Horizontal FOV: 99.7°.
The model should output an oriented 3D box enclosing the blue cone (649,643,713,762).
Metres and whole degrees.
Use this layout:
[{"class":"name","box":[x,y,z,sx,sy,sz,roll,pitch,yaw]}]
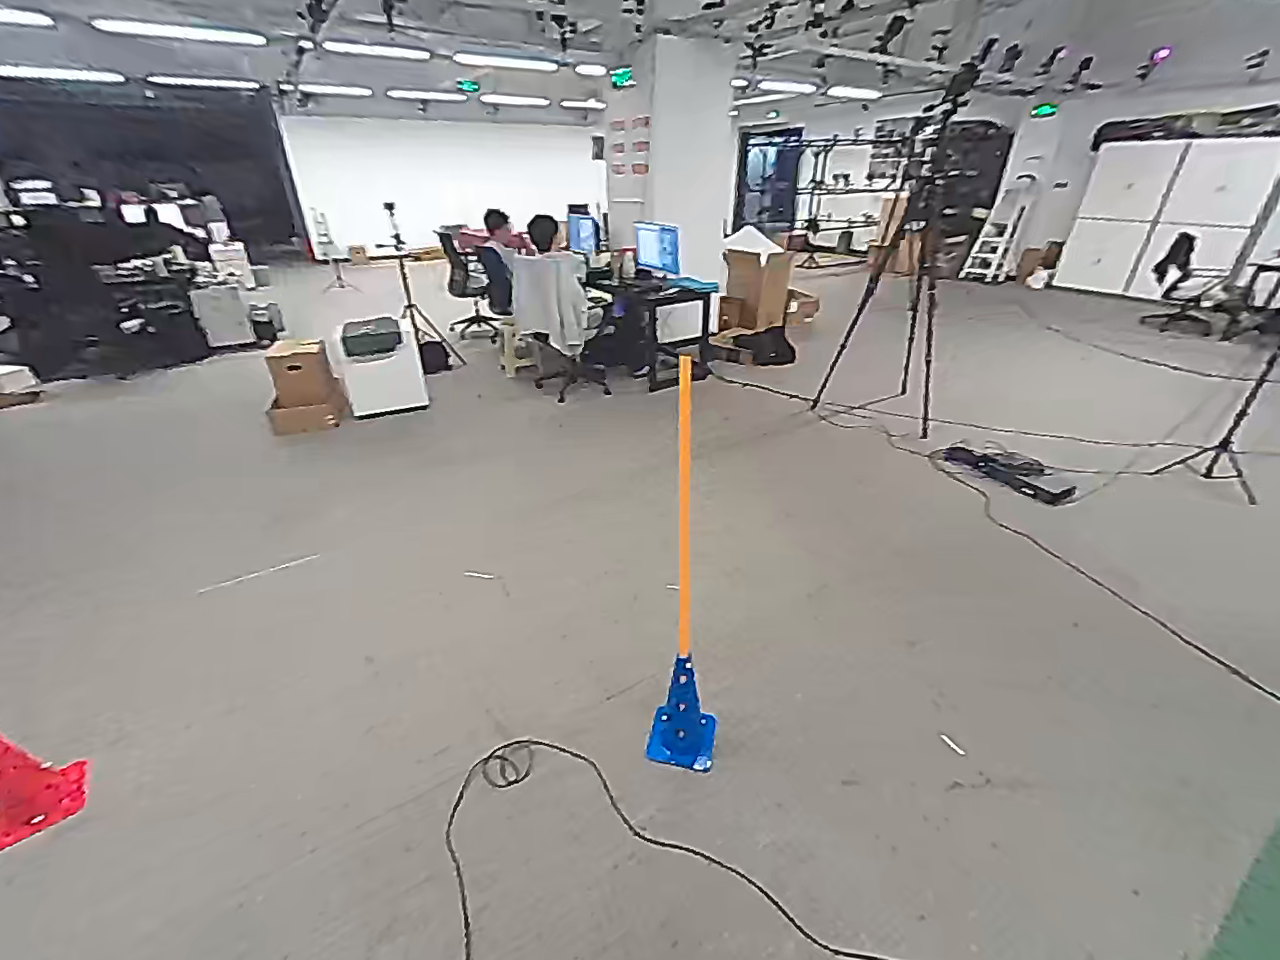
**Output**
[{"class":"blue cone","box":[0.128,0.640,1.616,0.192,0.380,0.193,5,28,11]}]
